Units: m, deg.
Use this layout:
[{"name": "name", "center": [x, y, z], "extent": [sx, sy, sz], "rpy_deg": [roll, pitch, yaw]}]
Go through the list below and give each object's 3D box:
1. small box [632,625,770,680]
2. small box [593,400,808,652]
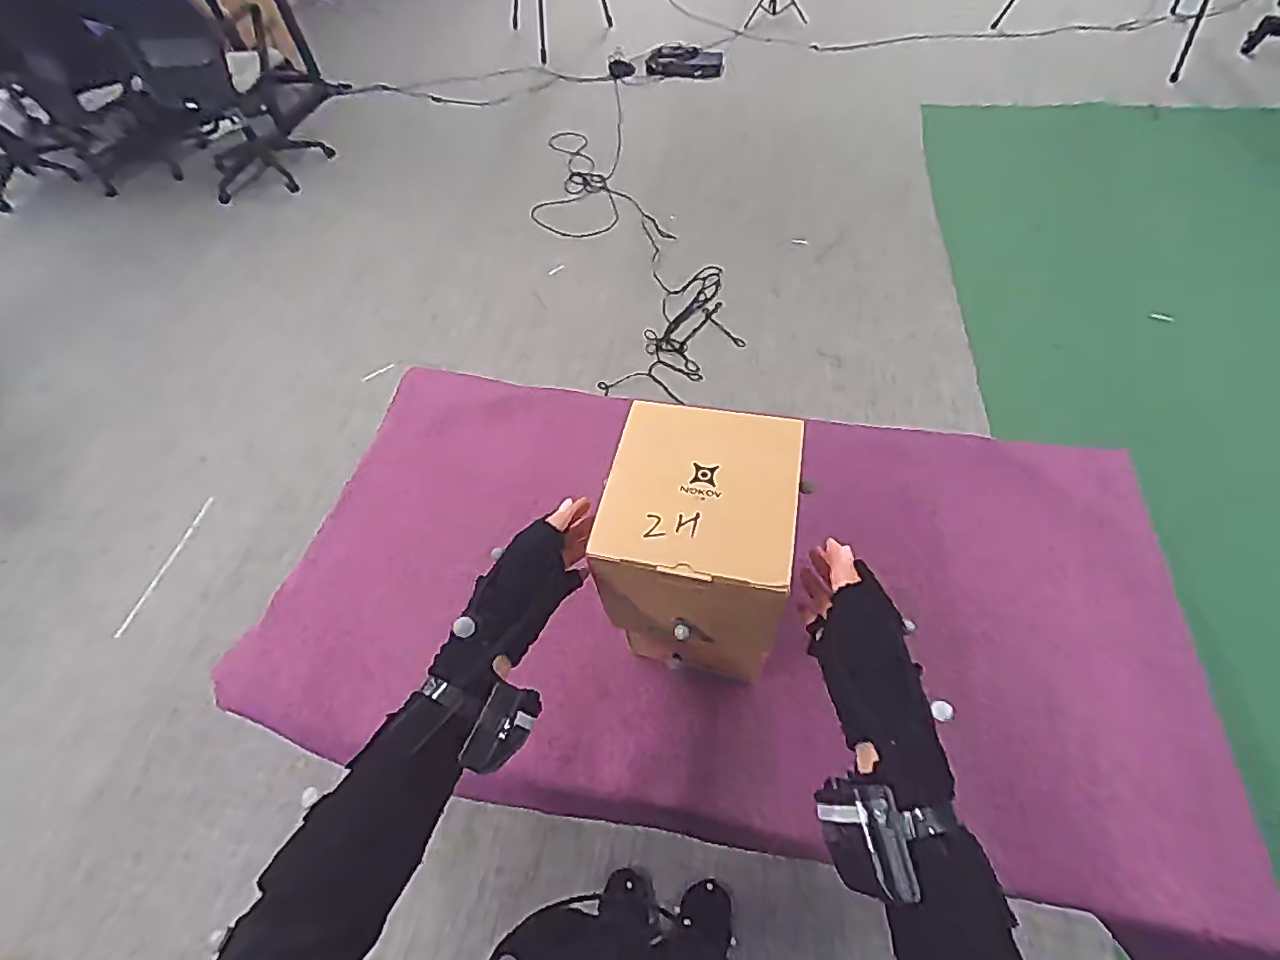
[{"name": "small box", "center": [0.084, 0.129, 0.685], "extent": [0.168, 0.176, 0.179], "rpy_deg": [10, 58, 12]}, {"name": "small box", "center": [0.064, 0.048, 0.543], "extent": [0.168, 0.176, 0.179], "rpy_deg": [9, 57, 12]}]
